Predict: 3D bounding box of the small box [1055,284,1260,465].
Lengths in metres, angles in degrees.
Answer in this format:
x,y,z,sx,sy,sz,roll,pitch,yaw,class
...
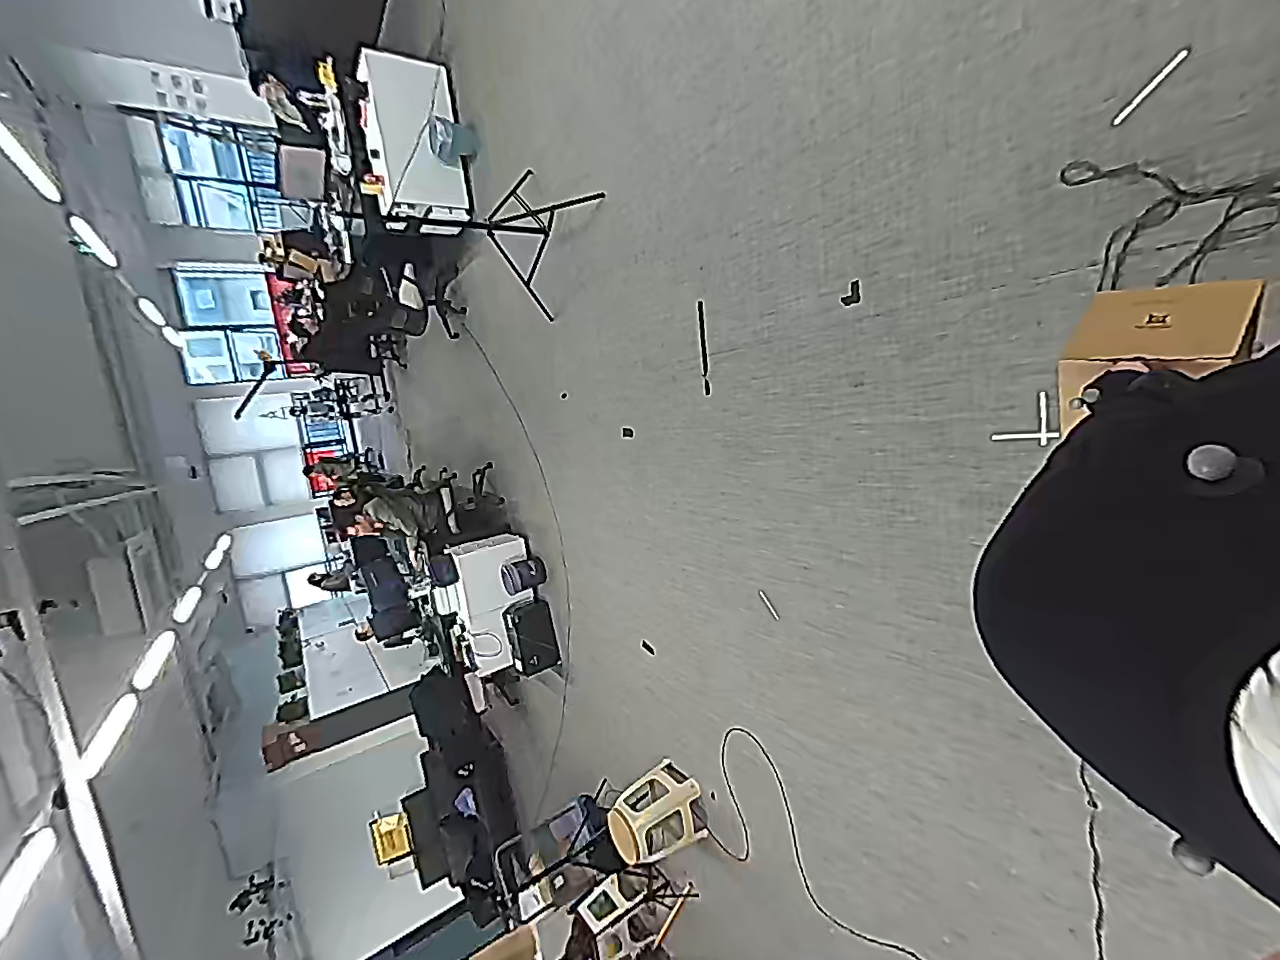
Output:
x,y,z,sx,sy,sz,roll,pitch,yaw,class
0.703,-0.142,0.744,0.168,0.179,0.176,16,144,49,small box
